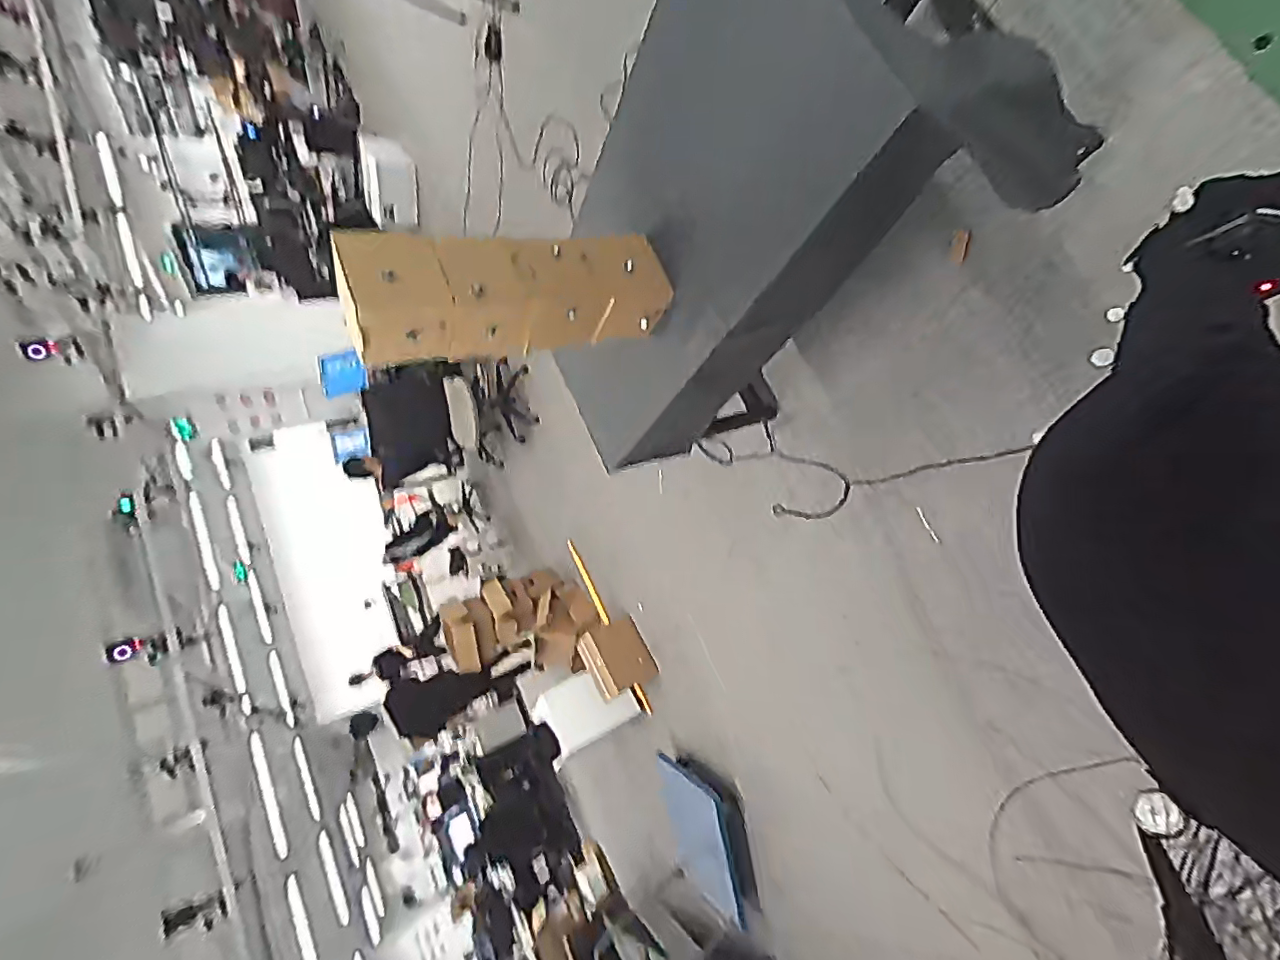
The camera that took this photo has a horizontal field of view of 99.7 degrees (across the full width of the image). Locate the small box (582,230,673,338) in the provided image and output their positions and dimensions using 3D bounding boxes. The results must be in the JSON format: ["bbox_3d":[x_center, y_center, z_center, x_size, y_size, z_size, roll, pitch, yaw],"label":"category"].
[{"bbox_3d":[-0.053,-0.459,1.272,0.179,0.176,0.168,65,148,13],"label":"small box"}]

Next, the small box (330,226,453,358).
[{"bbox_3d":[-0.469,-0.361,1.031,0.179,0.176,0.168,65,148,15],"label":"small box"}]

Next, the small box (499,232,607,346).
[{"bbox_3d":[-0.190,-0.421,1.192,0.168,0.176,0.179,65,148,15],"label":"small box"}]
